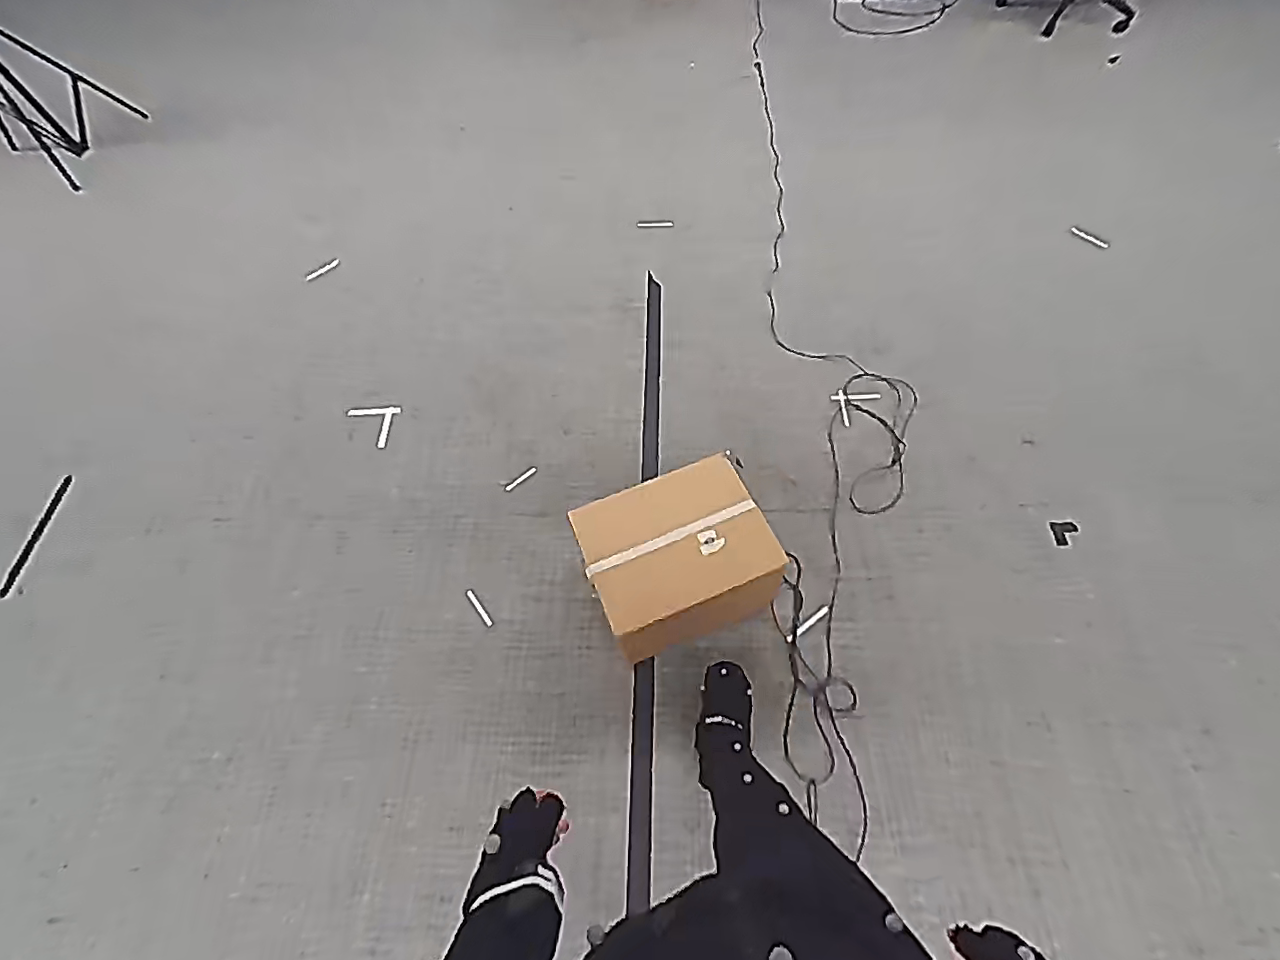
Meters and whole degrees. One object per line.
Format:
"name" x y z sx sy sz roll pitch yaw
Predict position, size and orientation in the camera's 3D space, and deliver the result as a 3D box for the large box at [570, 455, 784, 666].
"large box" 0.083 0.206 1.333 0.408 0.320 0.320 -21 61 -9
